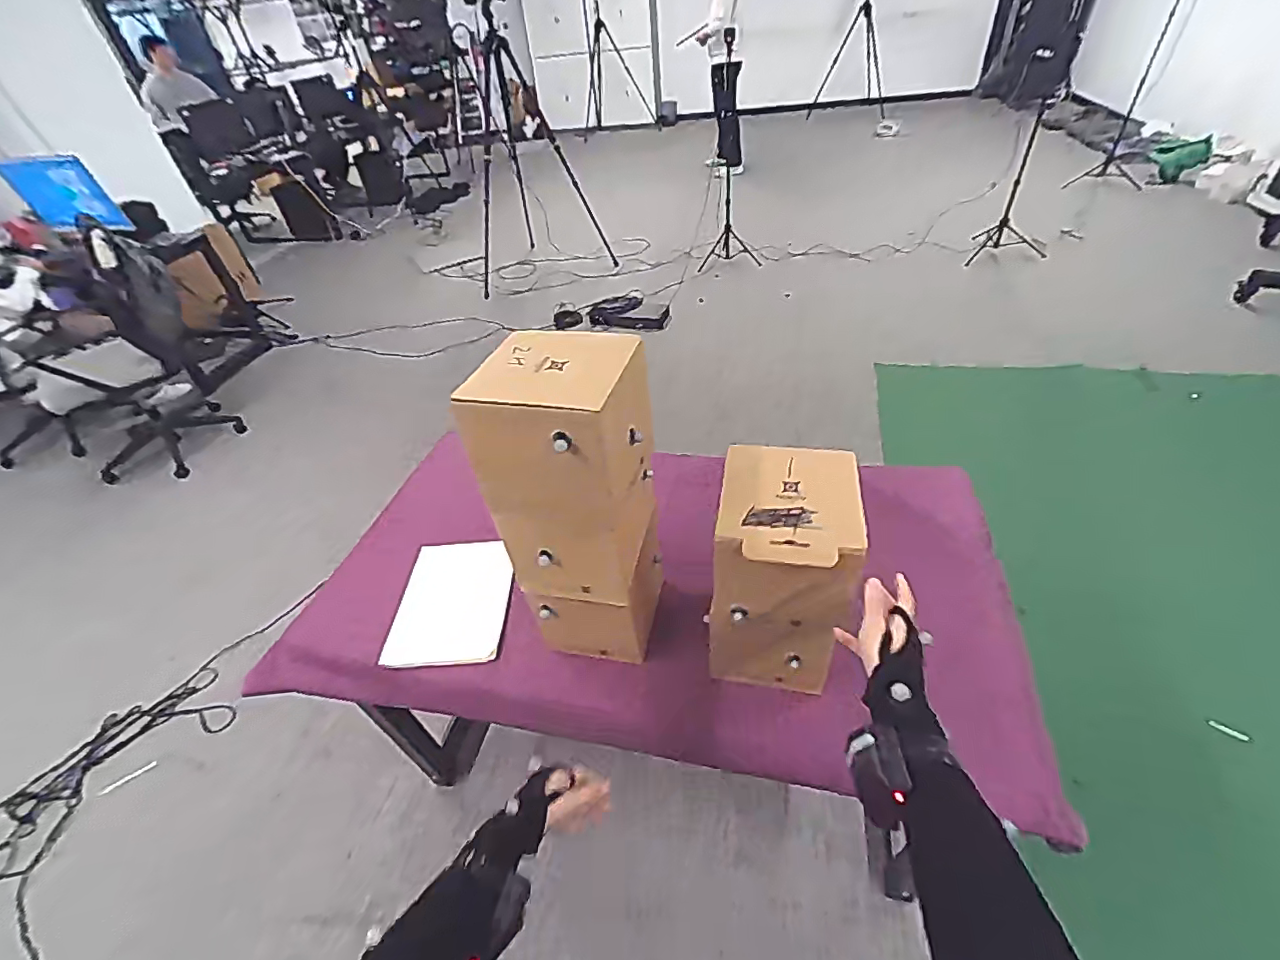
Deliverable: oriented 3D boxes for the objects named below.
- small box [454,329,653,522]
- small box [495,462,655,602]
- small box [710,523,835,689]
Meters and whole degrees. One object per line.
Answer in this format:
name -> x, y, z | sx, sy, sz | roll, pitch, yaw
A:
small box -> -0.088, -0.067, 0.662 | 0.179, 0.176, 0.168 | 6, 42, 16
small box -> -0.078, 0.052, 0.776 | 0.168, 0.176, 0.179 | 5, 42, 14
small box -> 0.202, 0.192, 0.826 | 0.168, 0.176, 0.179 | 6, 42, 13
